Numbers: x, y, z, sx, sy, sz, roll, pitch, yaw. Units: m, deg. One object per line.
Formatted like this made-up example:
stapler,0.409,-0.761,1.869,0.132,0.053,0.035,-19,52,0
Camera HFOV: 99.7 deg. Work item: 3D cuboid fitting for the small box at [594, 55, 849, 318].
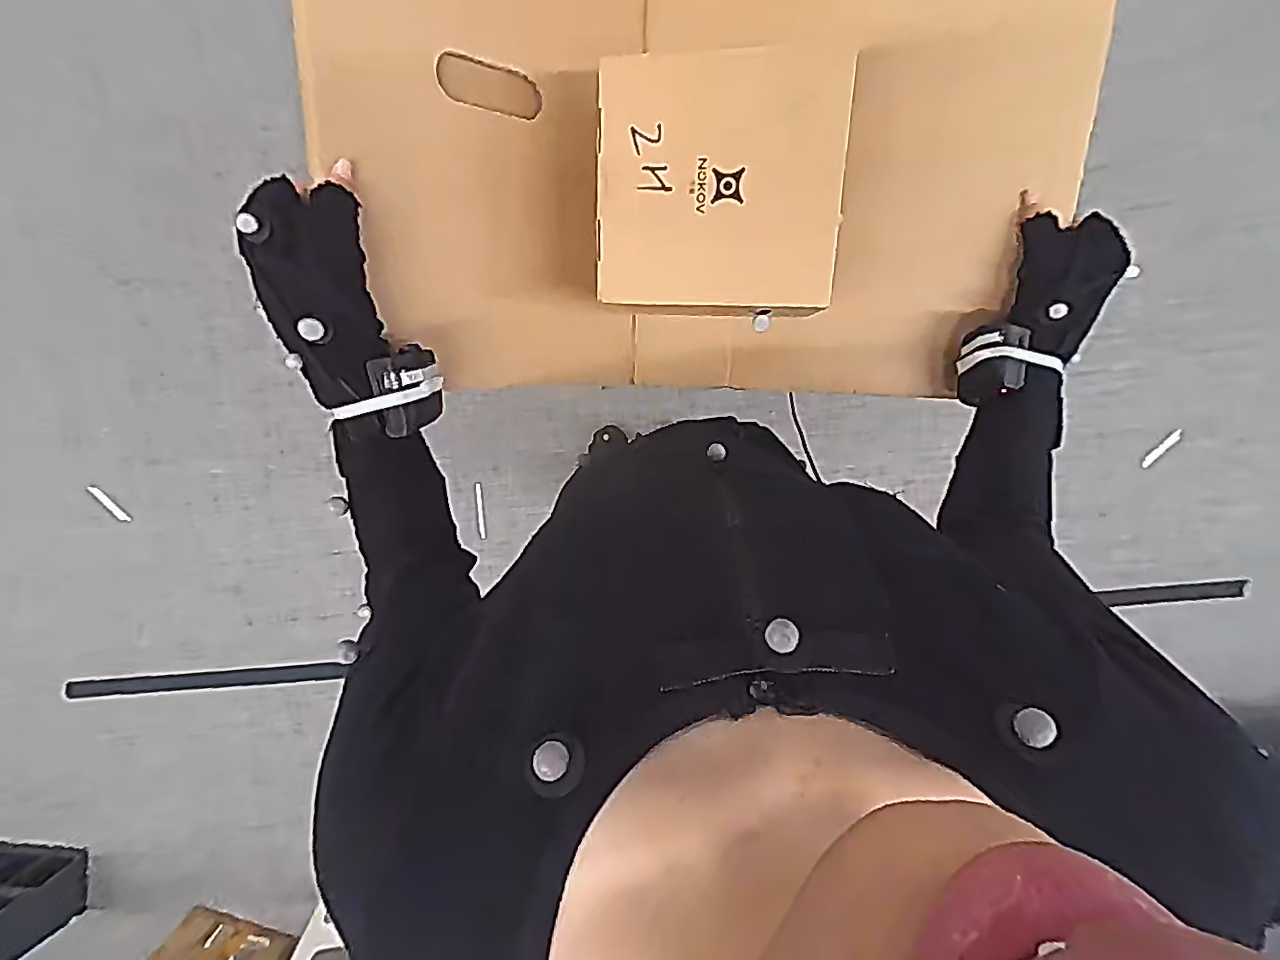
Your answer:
small box,0.065,-0.233,0.470,0.179,0.176,0.168,4,104,9
